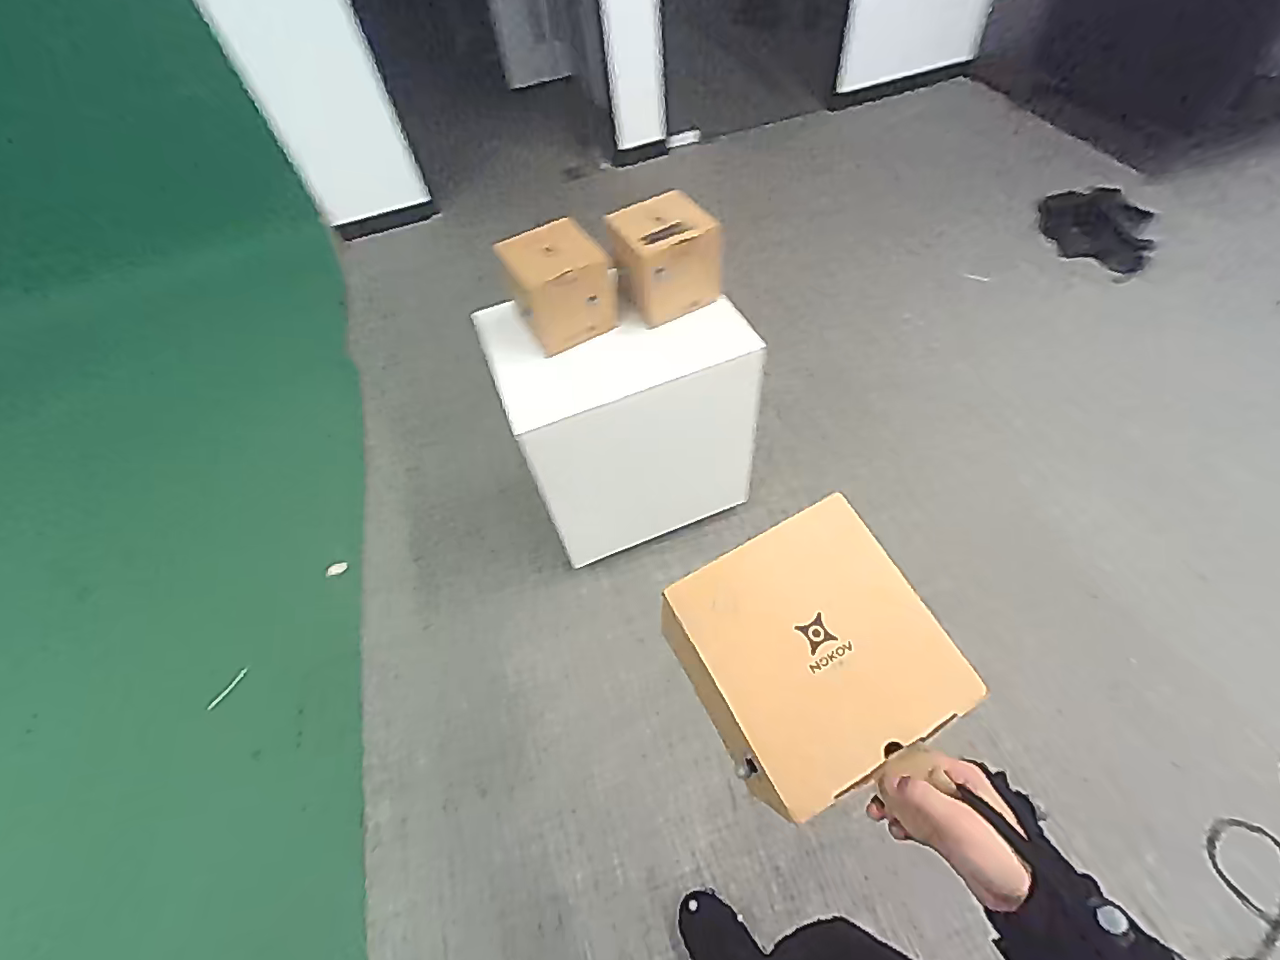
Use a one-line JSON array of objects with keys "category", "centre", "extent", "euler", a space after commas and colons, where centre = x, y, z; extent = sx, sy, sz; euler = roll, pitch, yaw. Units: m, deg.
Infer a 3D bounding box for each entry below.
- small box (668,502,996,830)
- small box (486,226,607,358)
[{"category": "small box", "centre": [0.133, 0.152, 0.457], "extent": [0.168, 0.176, 0.179], "euler": [-26, 69, -11]}, {"category": "small box", "centre": [-0.180, -0.369, 1.084], "extent": [0.168, 0.176, 0.179], "euler": [-28, 56, -15]}]
